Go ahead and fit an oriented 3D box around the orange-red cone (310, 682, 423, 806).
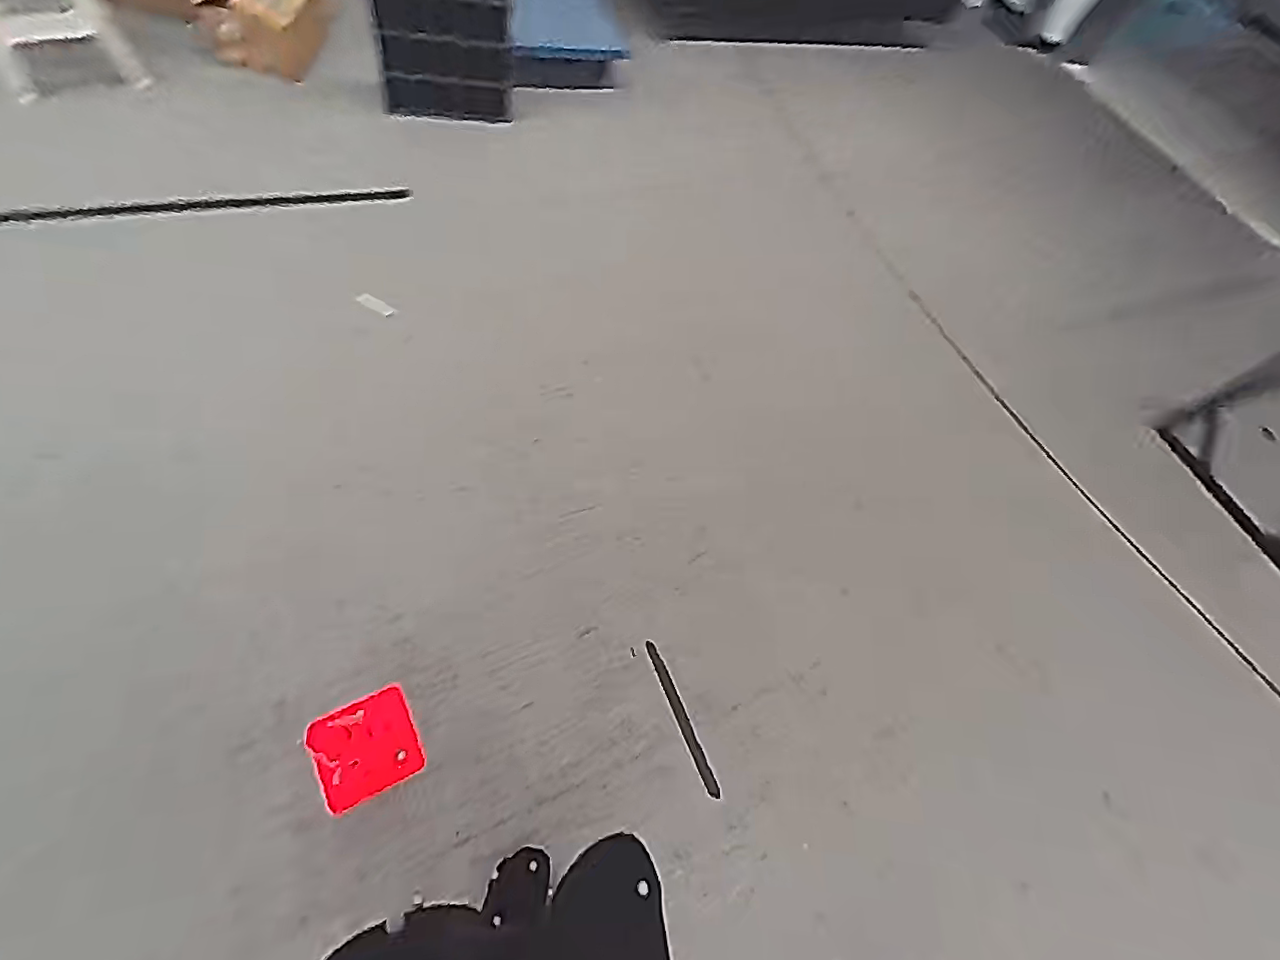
[{"bbox_3d":[-0.556,0.485,1.028,0.198,0.360,0.199,-19,67,-23],"label":"orange-red cone"}]
